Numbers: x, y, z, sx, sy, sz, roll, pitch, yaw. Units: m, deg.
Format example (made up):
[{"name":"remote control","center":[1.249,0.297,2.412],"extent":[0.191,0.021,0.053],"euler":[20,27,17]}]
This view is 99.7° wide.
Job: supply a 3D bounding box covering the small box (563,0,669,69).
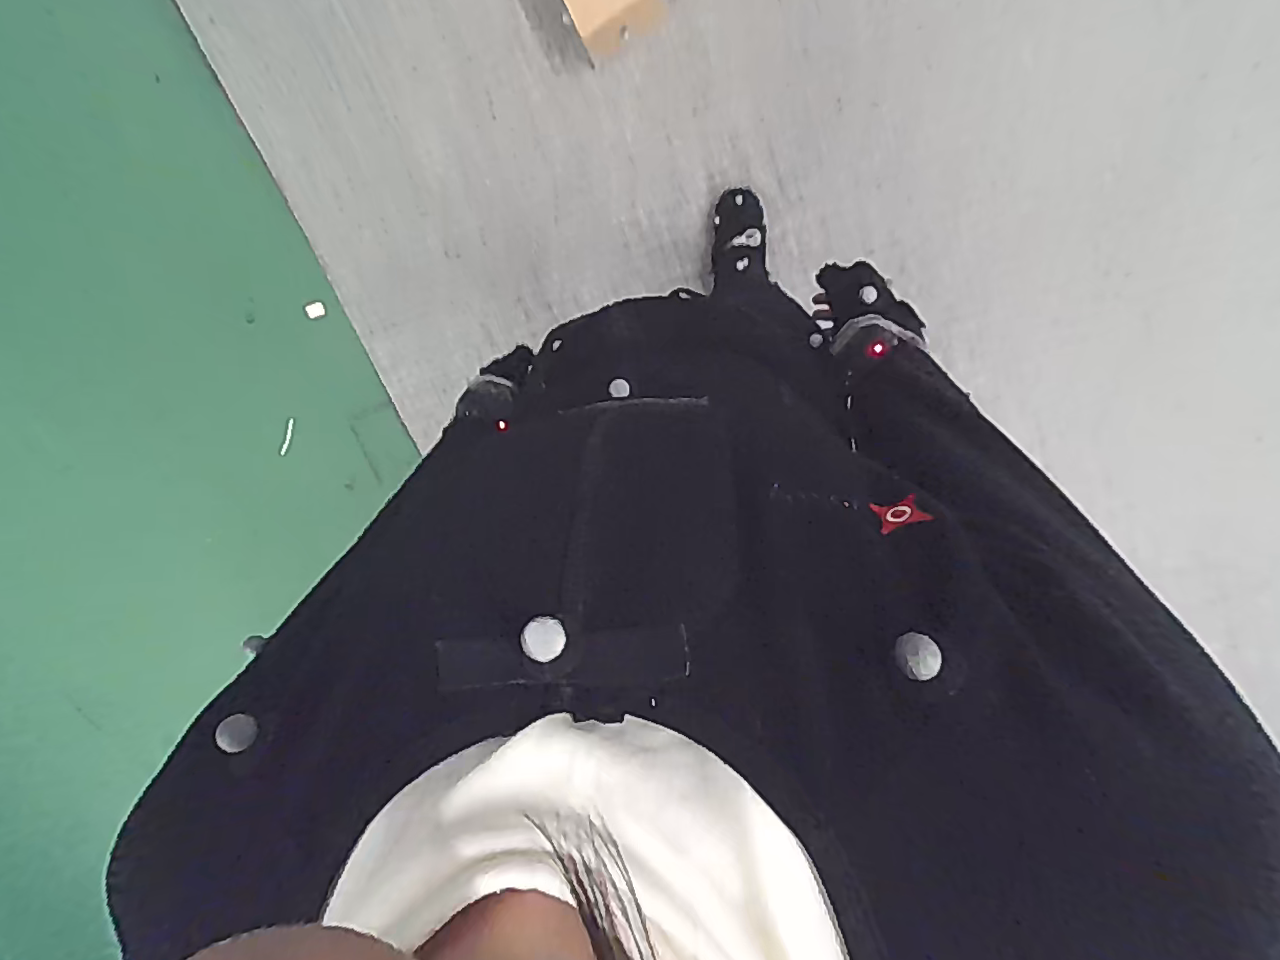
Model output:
[{"name":"small box","center":[-0.055,-0.943,1.032],"extent":[0.179,0.176,0.168],"euler":[-29,106,15]}]
